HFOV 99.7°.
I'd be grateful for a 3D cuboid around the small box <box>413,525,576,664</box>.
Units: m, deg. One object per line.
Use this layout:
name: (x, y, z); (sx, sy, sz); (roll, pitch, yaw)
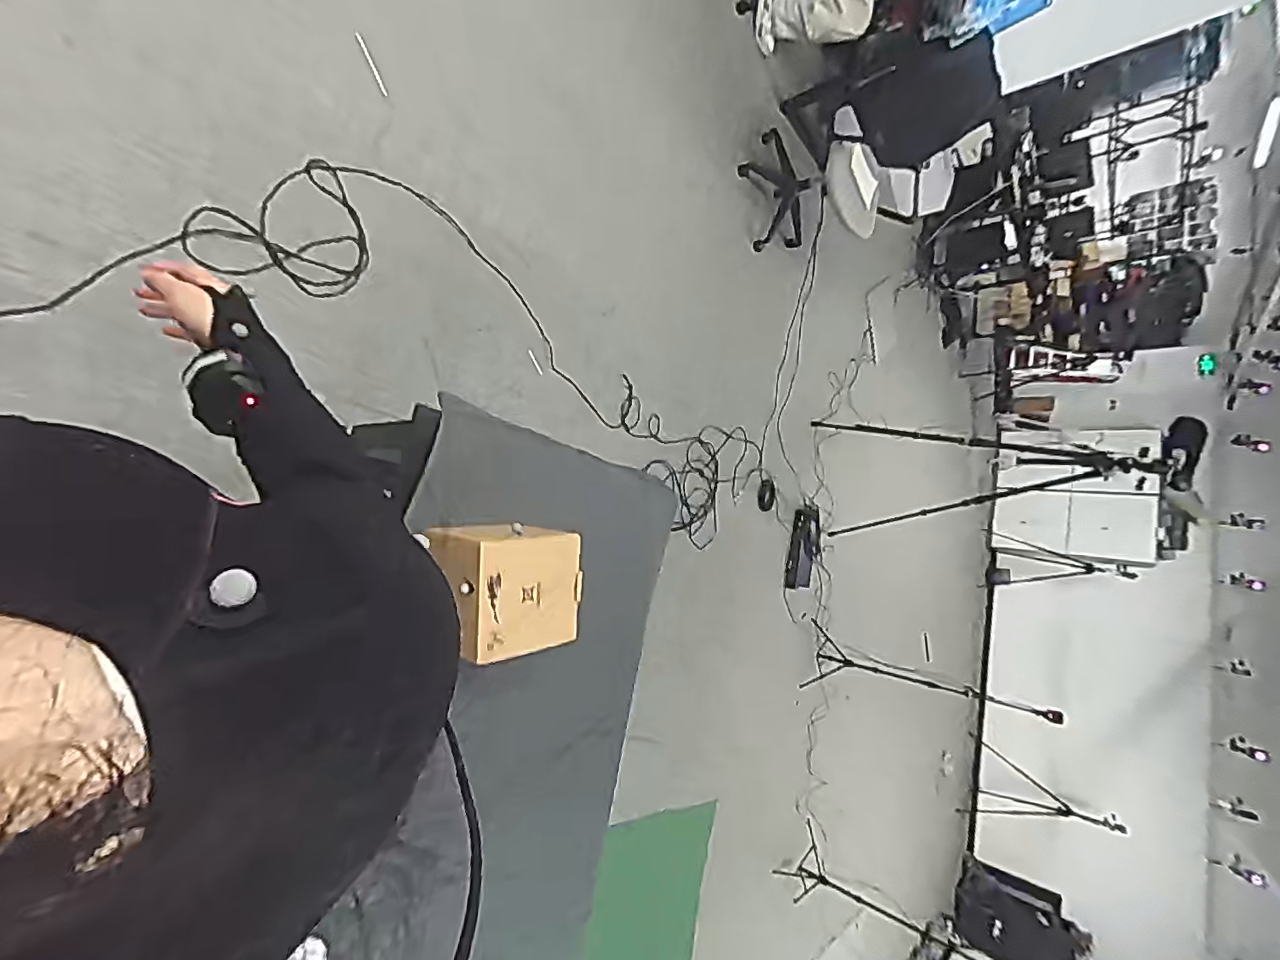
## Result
small box: (-0.220, 0.160, 0.824); (0.179, 0.176, 0.168); (1, 91, -49)
